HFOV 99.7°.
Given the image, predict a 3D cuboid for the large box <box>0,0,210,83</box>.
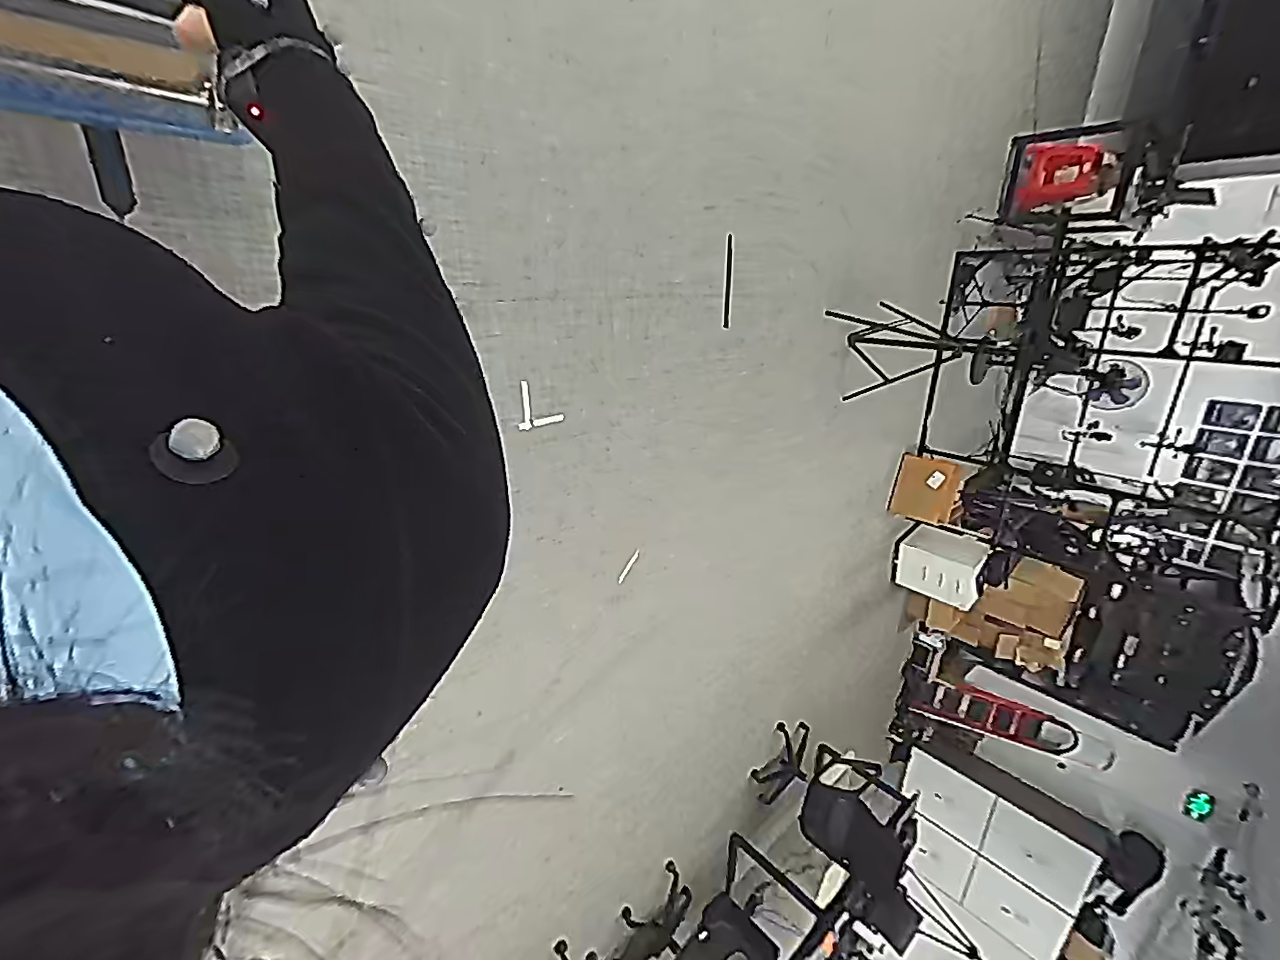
[{"bbox_3d":[-0.828,-0.745,0.656,0.408,0.320,0.320,-16,117,-42],"label":"large box"}]
